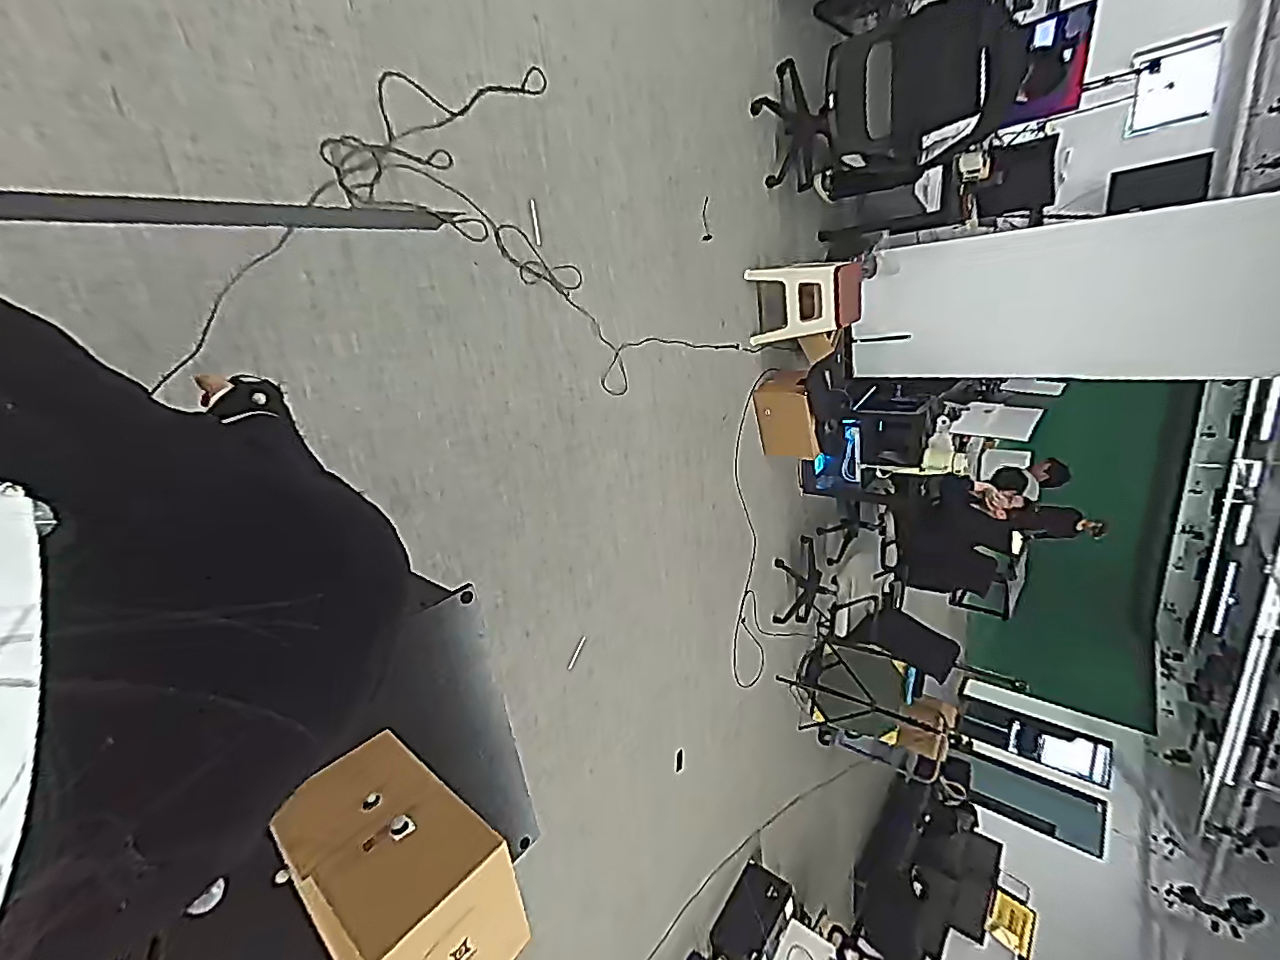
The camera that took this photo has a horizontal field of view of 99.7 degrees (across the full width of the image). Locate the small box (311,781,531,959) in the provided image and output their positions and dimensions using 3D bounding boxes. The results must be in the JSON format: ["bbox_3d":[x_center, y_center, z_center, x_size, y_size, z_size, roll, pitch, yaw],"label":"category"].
[{"bbox_3d":[-0.262,0.515,0.656,0.168,0.176,0.179,-27,116,-45],"label":"small box"}]

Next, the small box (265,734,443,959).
[{"bbox_3d":[-0.385,0.499,0.760,0.179,0.176,0.168,-25,115,-44],"label":"small box"}]
